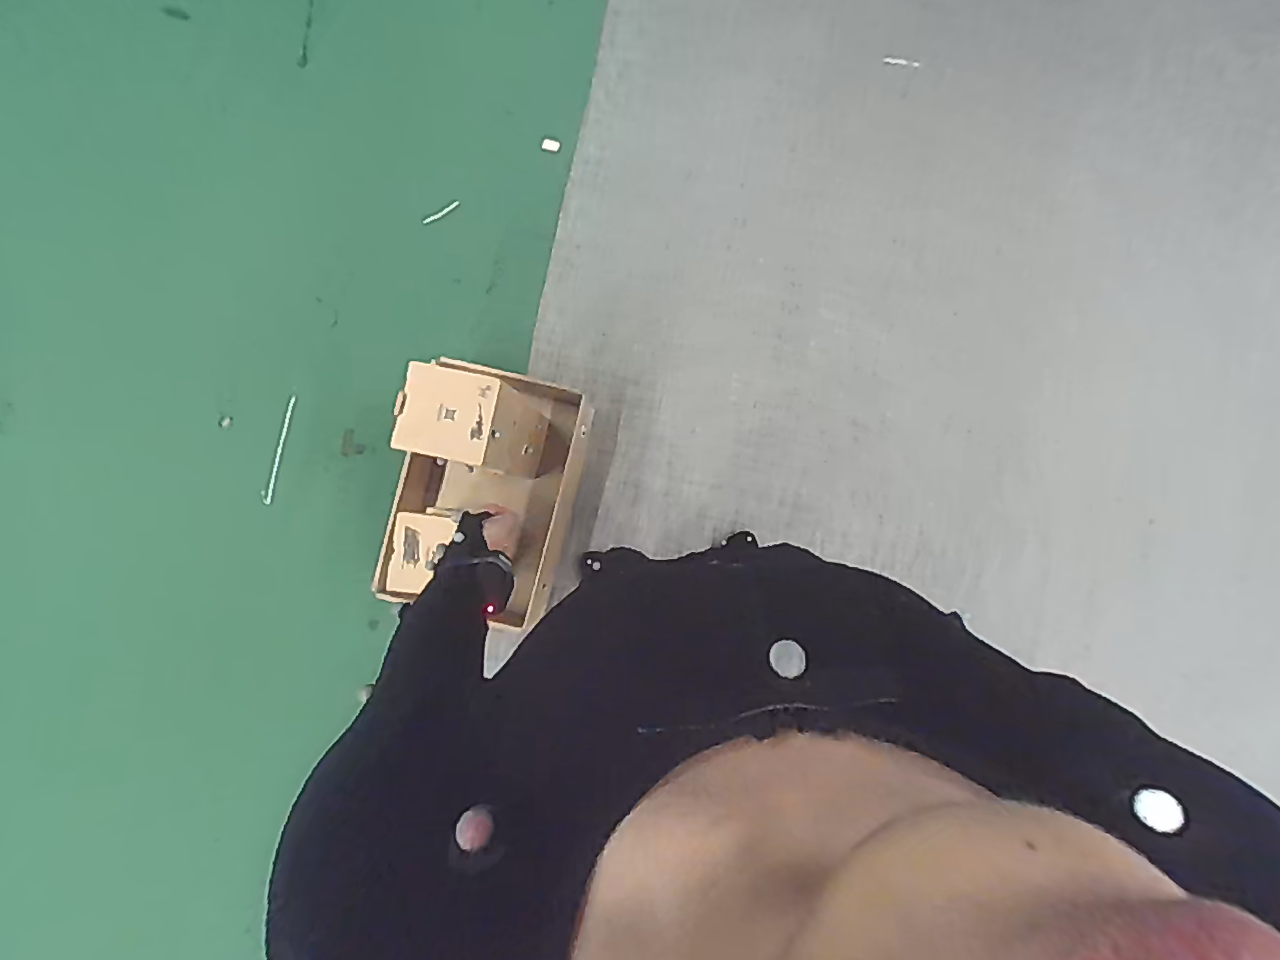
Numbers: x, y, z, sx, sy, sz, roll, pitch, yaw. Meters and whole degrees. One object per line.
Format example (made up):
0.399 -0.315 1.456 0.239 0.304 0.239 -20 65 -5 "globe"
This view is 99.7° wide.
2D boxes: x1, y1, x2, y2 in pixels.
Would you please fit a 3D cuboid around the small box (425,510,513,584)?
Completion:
-0.437 0.172 1.359 0.179 0.176 0.168 9 85 1 "small box"

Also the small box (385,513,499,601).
-0.429 0.167 1.194 0.179 0.176 0.168 7 85 0 "small box"

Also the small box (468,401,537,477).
-0.347 -0.106 1.214 0.179 0.176 0.168 15 87 1 "small box"

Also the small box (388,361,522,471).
-0.349 -0.116 1.050 0.179 0.176 0.168 12 87 3 "small box"
